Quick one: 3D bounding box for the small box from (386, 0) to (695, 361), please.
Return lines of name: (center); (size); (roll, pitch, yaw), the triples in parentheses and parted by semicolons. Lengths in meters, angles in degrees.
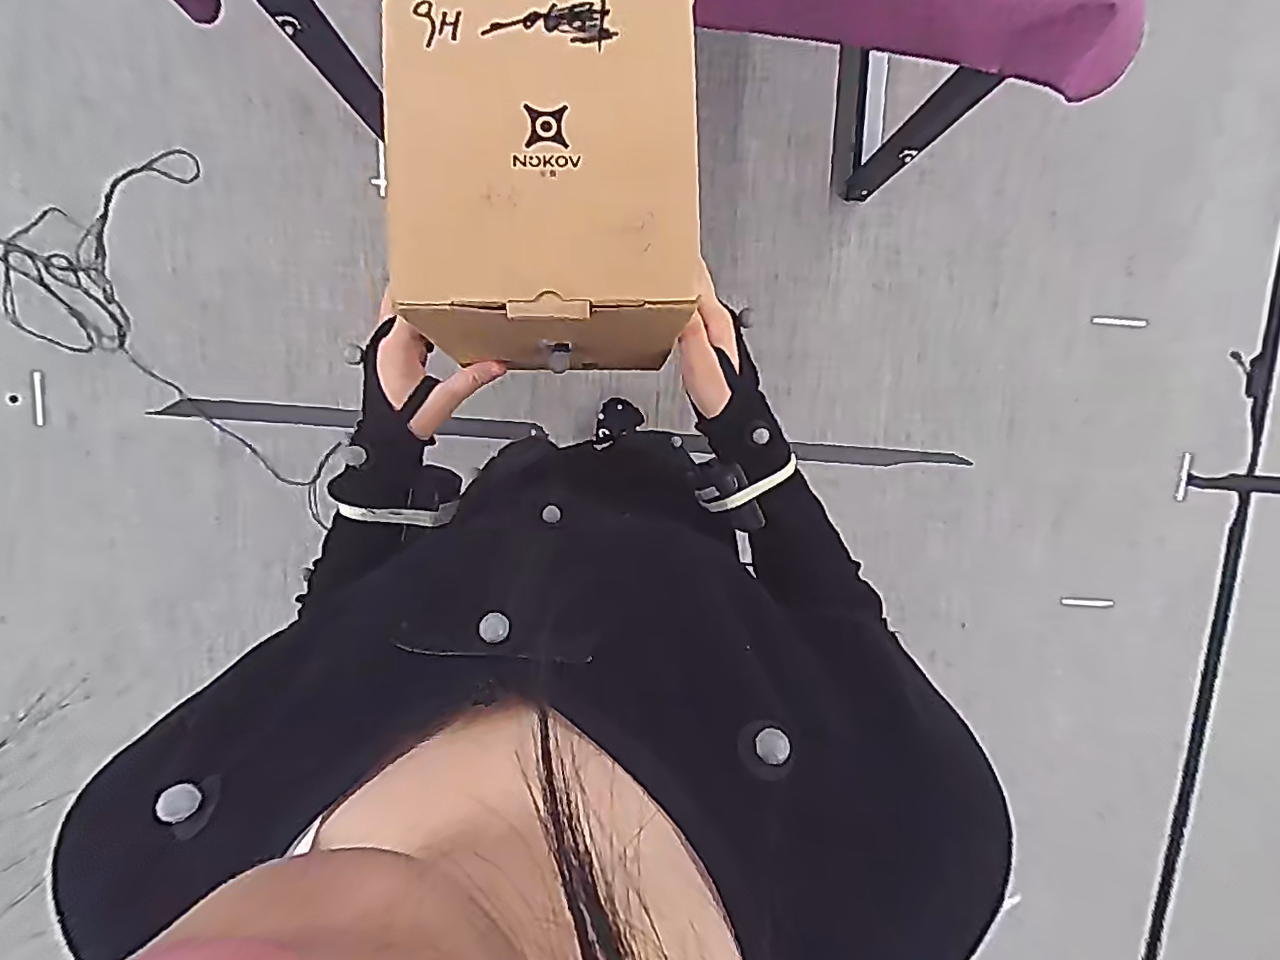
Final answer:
small box: (-0.057, -0.182, 0.369); (0.168, 0.176, 0.179); (-1, 90, -5)
